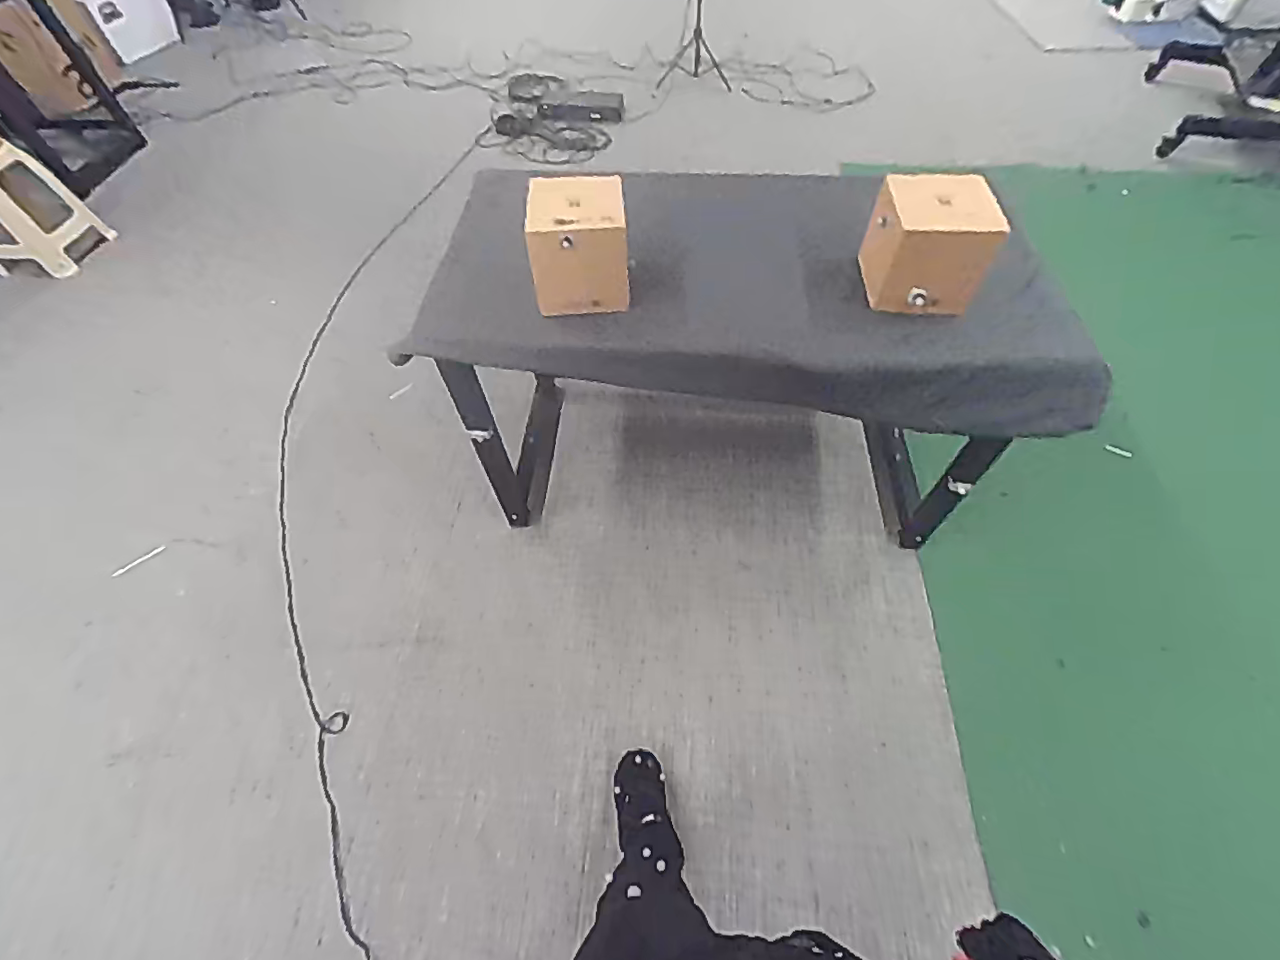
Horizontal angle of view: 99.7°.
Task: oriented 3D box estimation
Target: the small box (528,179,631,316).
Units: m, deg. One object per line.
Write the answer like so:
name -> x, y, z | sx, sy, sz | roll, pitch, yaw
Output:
small box -> -0.104, -0.426, 0.995 | 0.168, 0.176, 0.179 | -4, 54, 0

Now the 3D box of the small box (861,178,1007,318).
small box -> 0.514, -0.418, 0.977 | 0.168, 0.176, 0.179 | 2, 56, 5
